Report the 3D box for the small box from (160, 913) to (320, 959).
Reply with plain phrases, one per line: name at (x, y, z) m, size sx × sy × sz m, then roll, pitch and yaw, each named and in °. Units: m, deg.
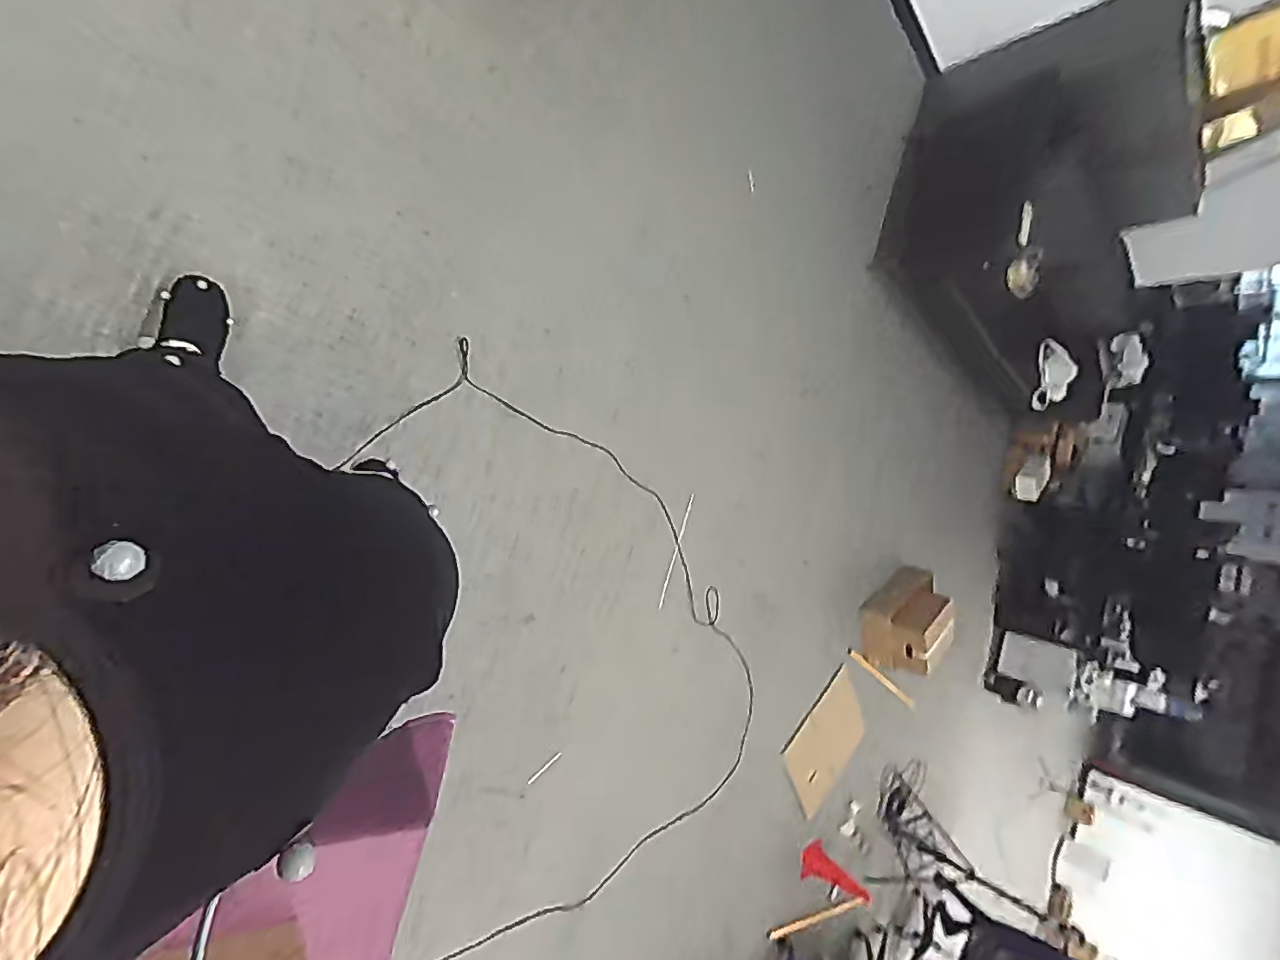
small box at (-0.487, 0.660, 0.624) m, size 0.179 × 0.176 × 0.168 m, roll 17°, pitch 86°, yaw -42°
